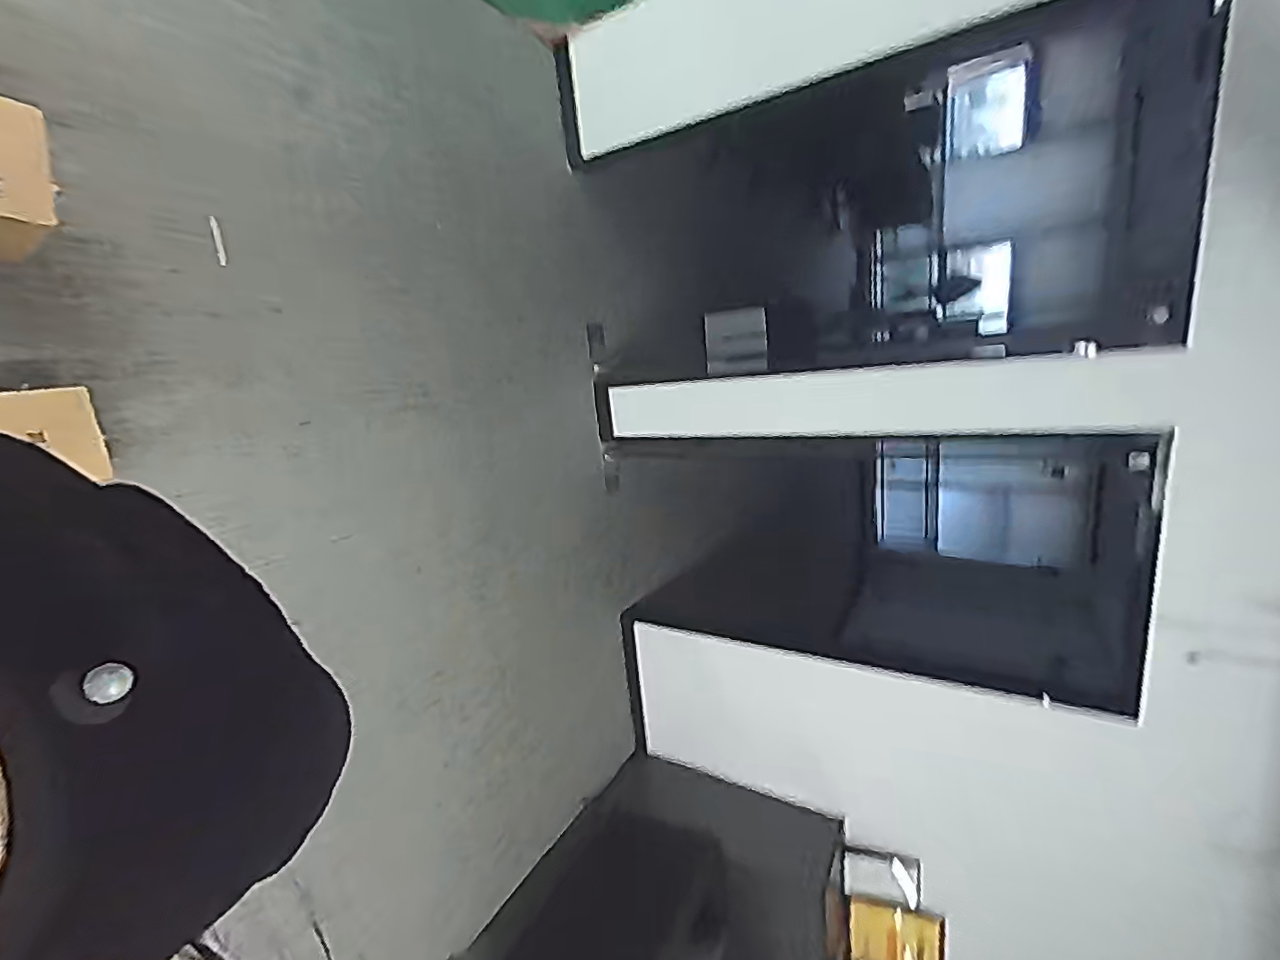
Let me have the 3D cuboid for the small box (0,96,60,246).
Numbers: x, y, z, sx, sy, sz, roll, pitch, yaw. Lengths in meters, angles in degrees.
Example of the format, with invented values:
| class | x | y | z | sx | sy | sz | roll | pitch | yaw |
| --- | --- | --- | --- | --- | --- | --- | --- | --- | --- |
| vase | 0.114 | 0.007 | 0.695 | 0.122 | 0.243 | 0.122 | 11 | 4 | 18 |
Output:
| class | x | y | z | sx | sy | sz | roll | pitch | yaw |
| --- | --- | --- | --- | --- | --- | --- | --- | --- | --- |
| small box | -1.008 | -0.468 | 0.804 | 0.168 | 0.176 | 0.179 | -10 | 99 | -57 |

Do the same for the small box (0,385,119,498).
| class | x | y | z | sx | sy | sz | roll | pitch | yaw |
| --- | --- | --- | --- | --- | --- | --- | --- | --- | --- |
| small box | -1.109 | -0.073 | 0.985 | 0.168 | 0.176 | 0.179 | -25 | 114 | -55 |

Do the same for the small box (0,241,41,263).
| class | x | y | z | sx | sy | sz | roll | pitch | yaw |
| --- | --- | --- | --- | --- | --- | --- | --- | --- | --- |
| small box | -1.145 | -0.475 | 0.899 | 0.168 | 0.176 | 0.179 | -12 | 102 | -58 |
